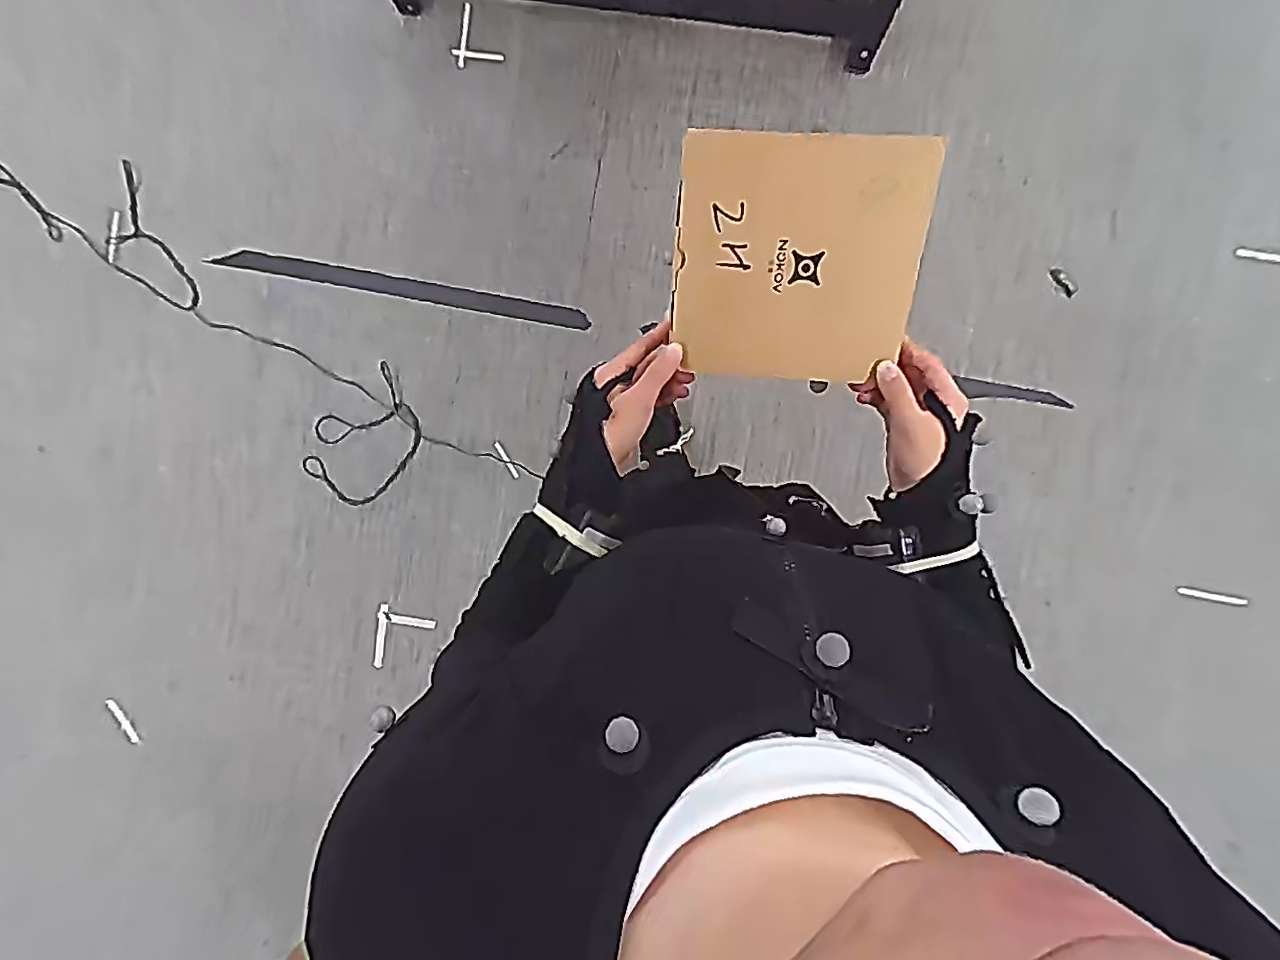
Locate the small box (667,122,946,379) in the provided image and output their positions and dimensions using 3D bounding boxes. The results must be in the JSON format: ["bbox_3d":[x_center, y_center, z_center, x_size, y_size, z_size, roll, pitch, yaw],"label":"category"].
[{"bbox_3d":[0.120,-0.191,0.466,0.179,0.176,0.168,5,113,4],"label":"small box"}]
